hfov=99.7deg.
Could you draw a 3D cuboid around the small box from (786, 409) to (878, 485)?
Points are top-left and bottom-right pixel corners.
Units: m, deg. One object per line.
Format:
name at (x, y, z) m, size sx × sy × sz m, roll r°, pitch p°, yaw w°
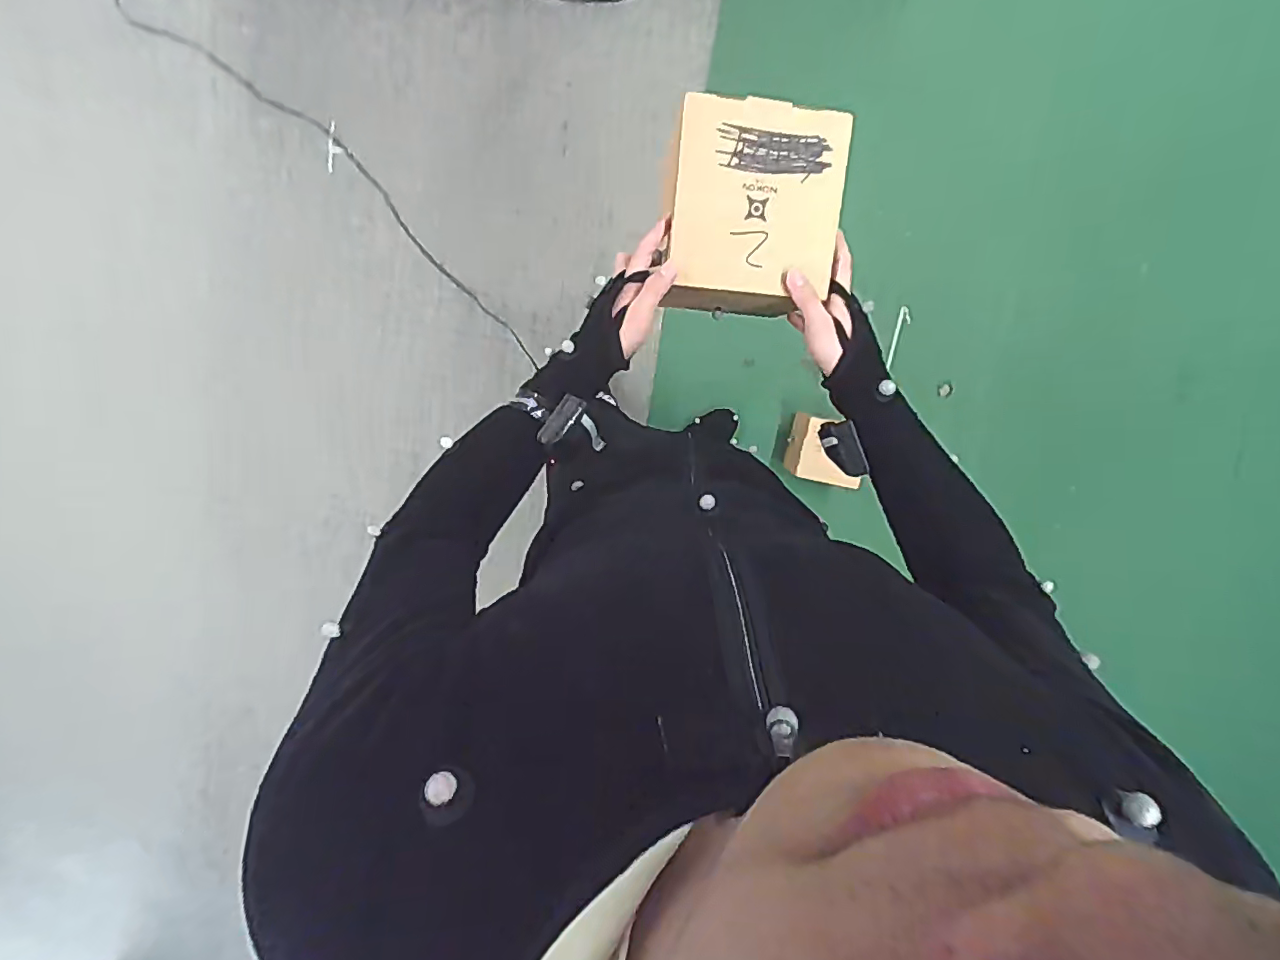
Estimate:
small box at (0.525, -0.098, 1.504) m, size 0.179 × 0.176 × 0.168 m, roll 13°, pitch 102°, yaw 1°
